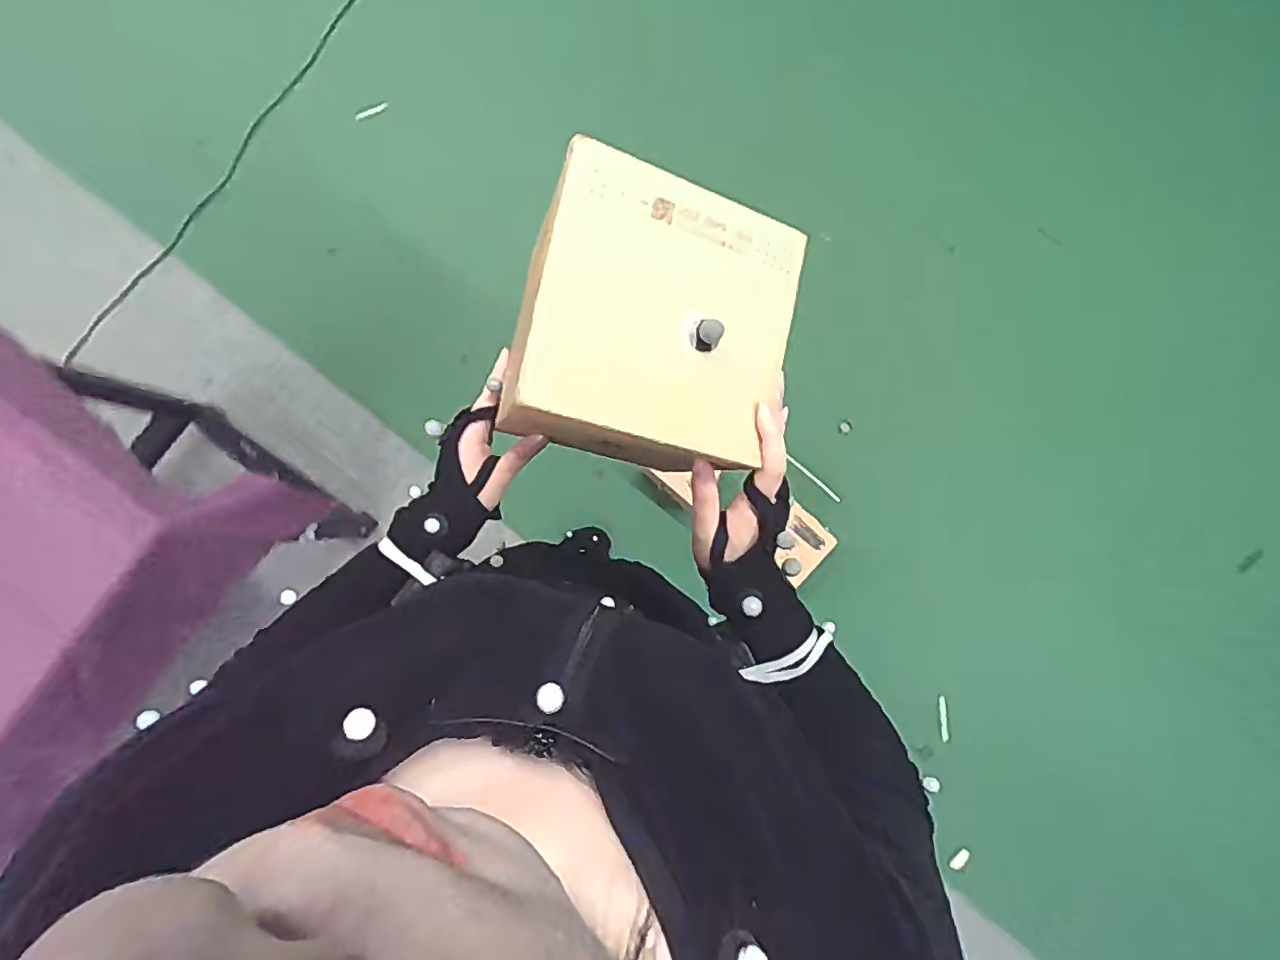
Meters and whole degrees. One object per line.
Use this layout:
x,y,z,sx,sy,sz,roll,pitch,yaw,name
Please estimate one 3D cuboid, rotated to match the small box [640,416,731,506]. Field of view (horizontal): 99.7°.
0.116,-0.045,1.455,0.179,0.176,0.168,41,85,2,small box
